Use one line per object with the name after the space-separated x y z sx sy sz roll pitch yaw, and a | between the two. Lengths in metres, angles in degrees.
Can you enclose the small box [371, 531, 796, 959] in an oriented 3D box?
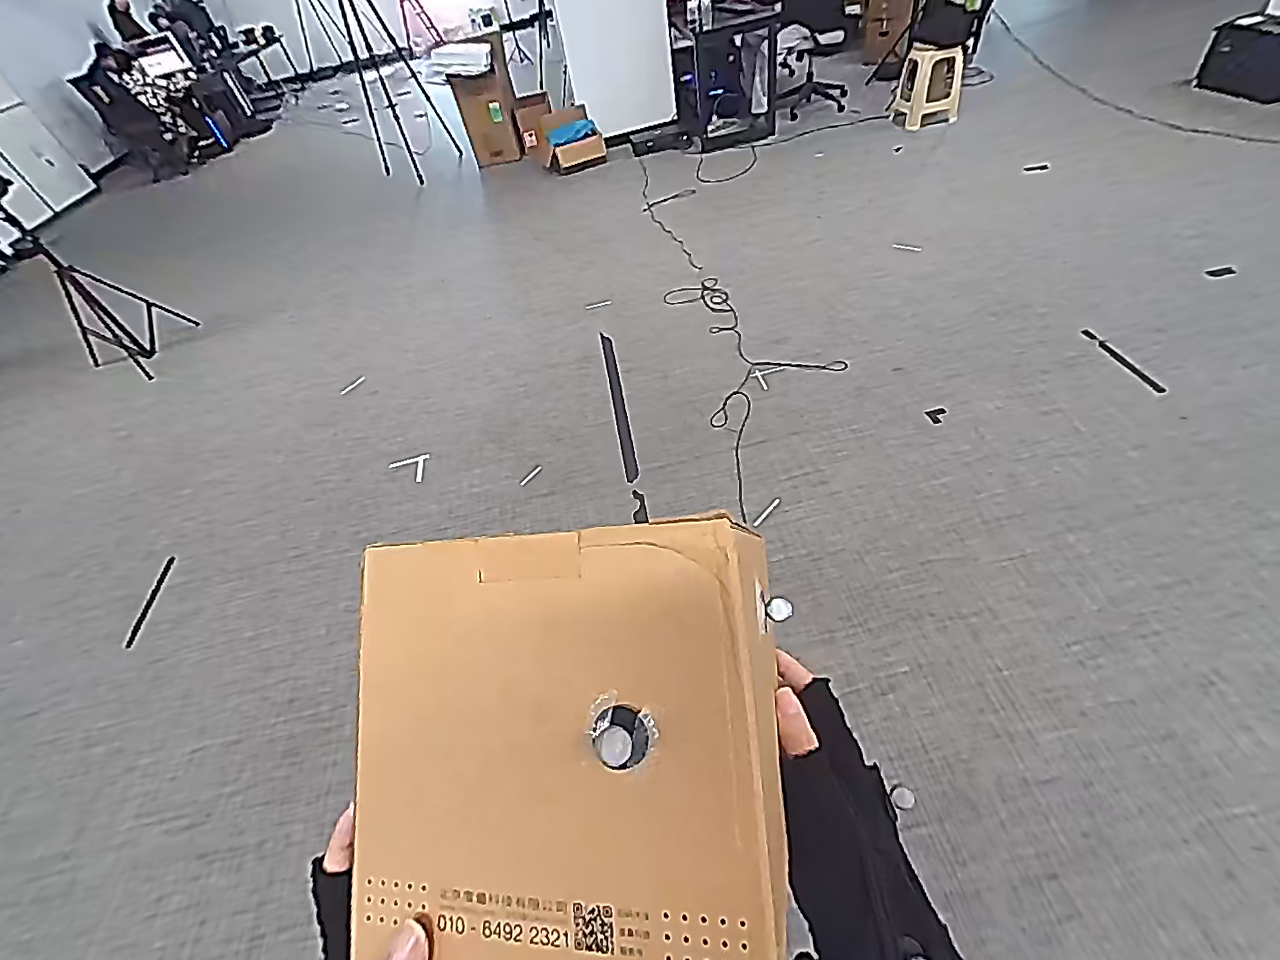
-0.011 0.122 0.285 0.168 0.179 0.176 -6 80 16 | small box
